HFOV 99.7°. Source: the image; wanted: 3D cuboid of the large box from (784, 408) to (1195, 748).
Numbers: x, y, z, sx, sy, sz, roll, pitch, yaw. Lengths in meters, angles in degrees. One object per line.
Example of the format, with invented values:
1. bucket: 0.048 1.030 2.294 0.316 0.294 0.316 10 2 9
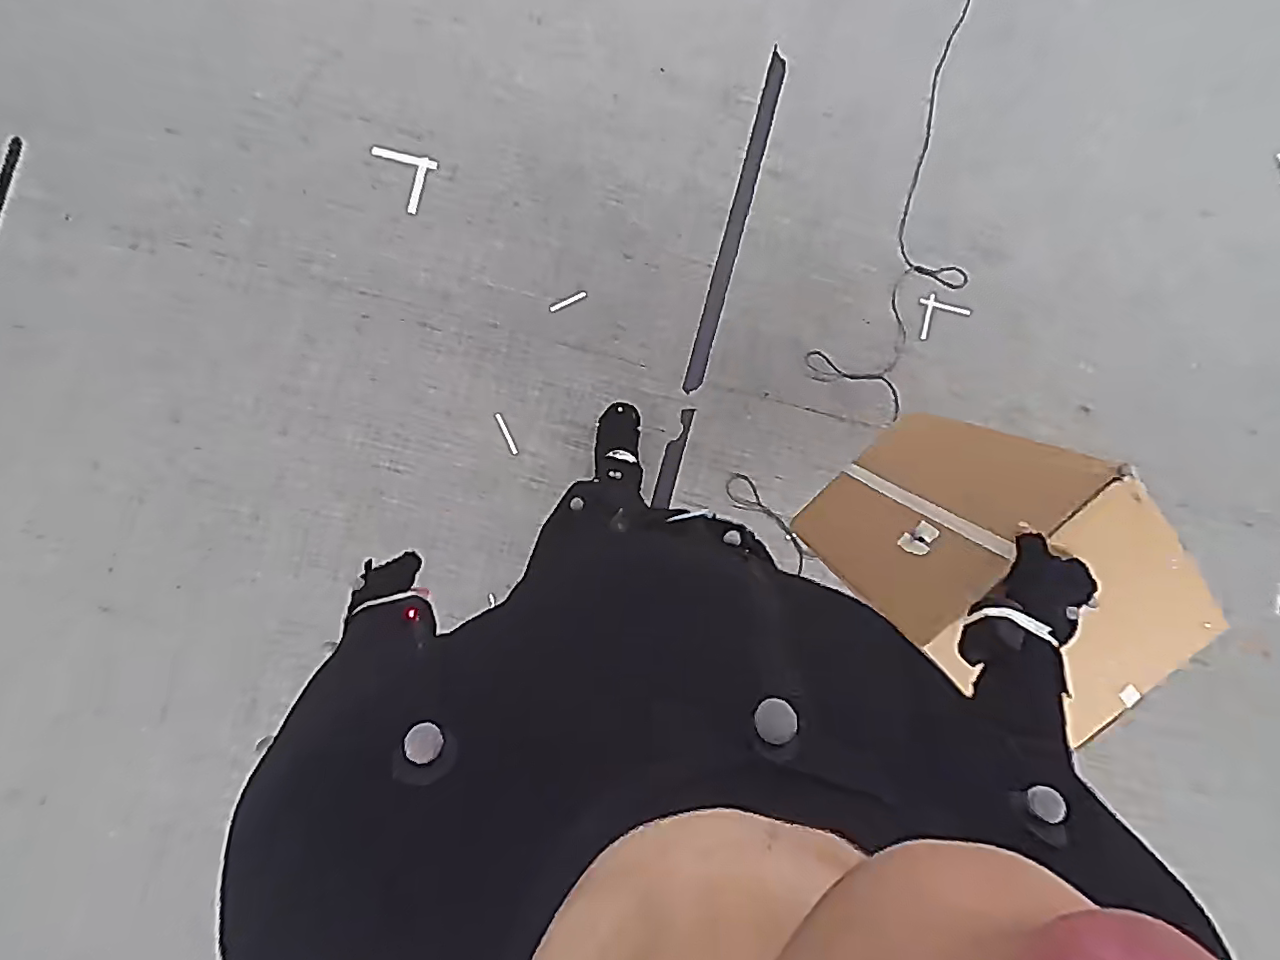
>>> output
1. large box: 0.517 0.125 0.881 0.320 0.408 0.320 41 97 -20
